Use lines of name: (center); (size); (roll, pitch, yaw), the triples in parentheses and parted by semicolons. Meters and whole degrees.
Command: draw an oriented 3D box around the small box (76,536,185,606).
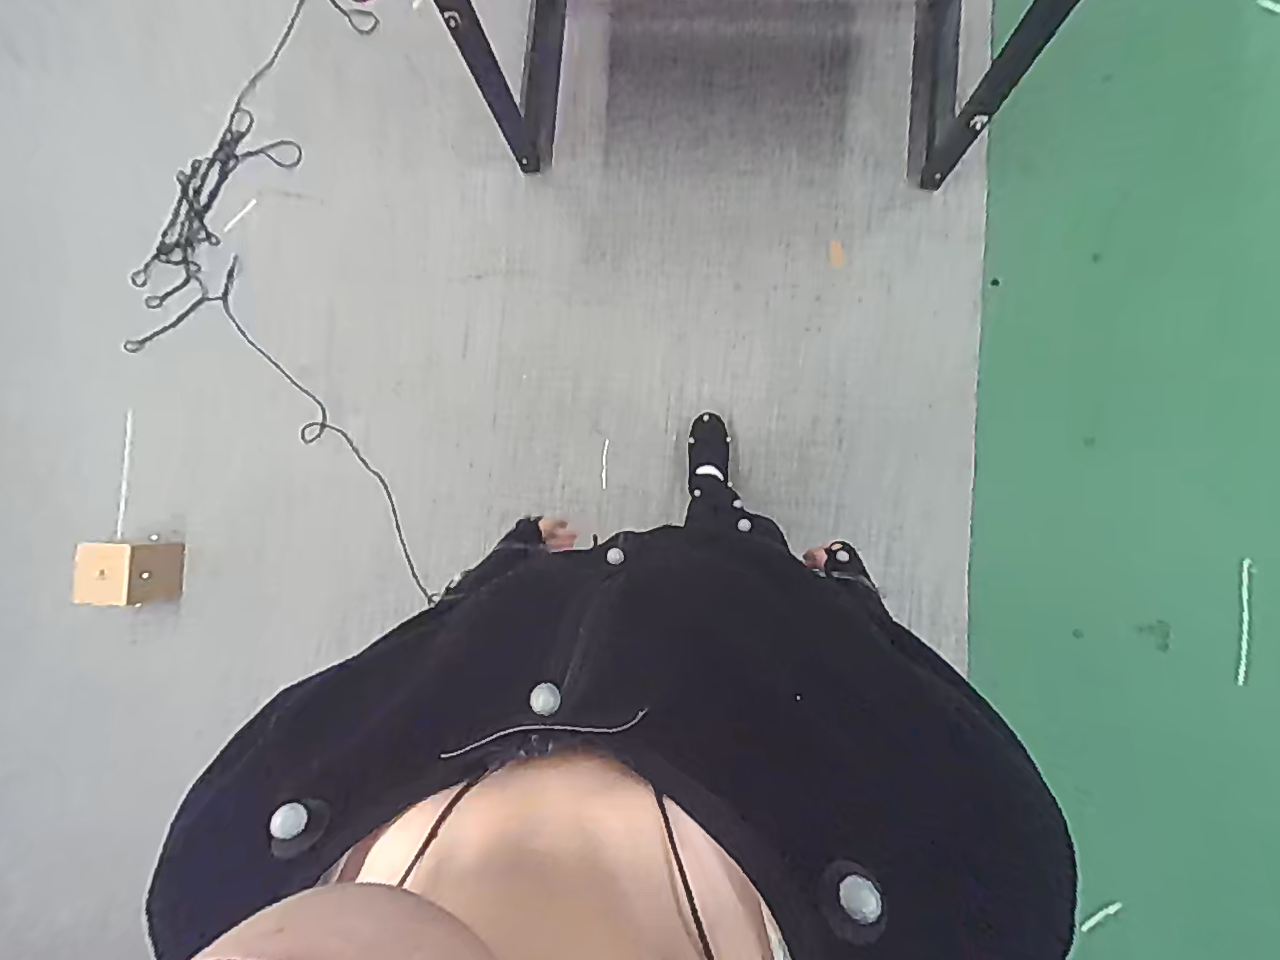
small box: (-1.488, 0.262, 1.588); (0.168, 0.176, 0.179); (3, 87, 6)
